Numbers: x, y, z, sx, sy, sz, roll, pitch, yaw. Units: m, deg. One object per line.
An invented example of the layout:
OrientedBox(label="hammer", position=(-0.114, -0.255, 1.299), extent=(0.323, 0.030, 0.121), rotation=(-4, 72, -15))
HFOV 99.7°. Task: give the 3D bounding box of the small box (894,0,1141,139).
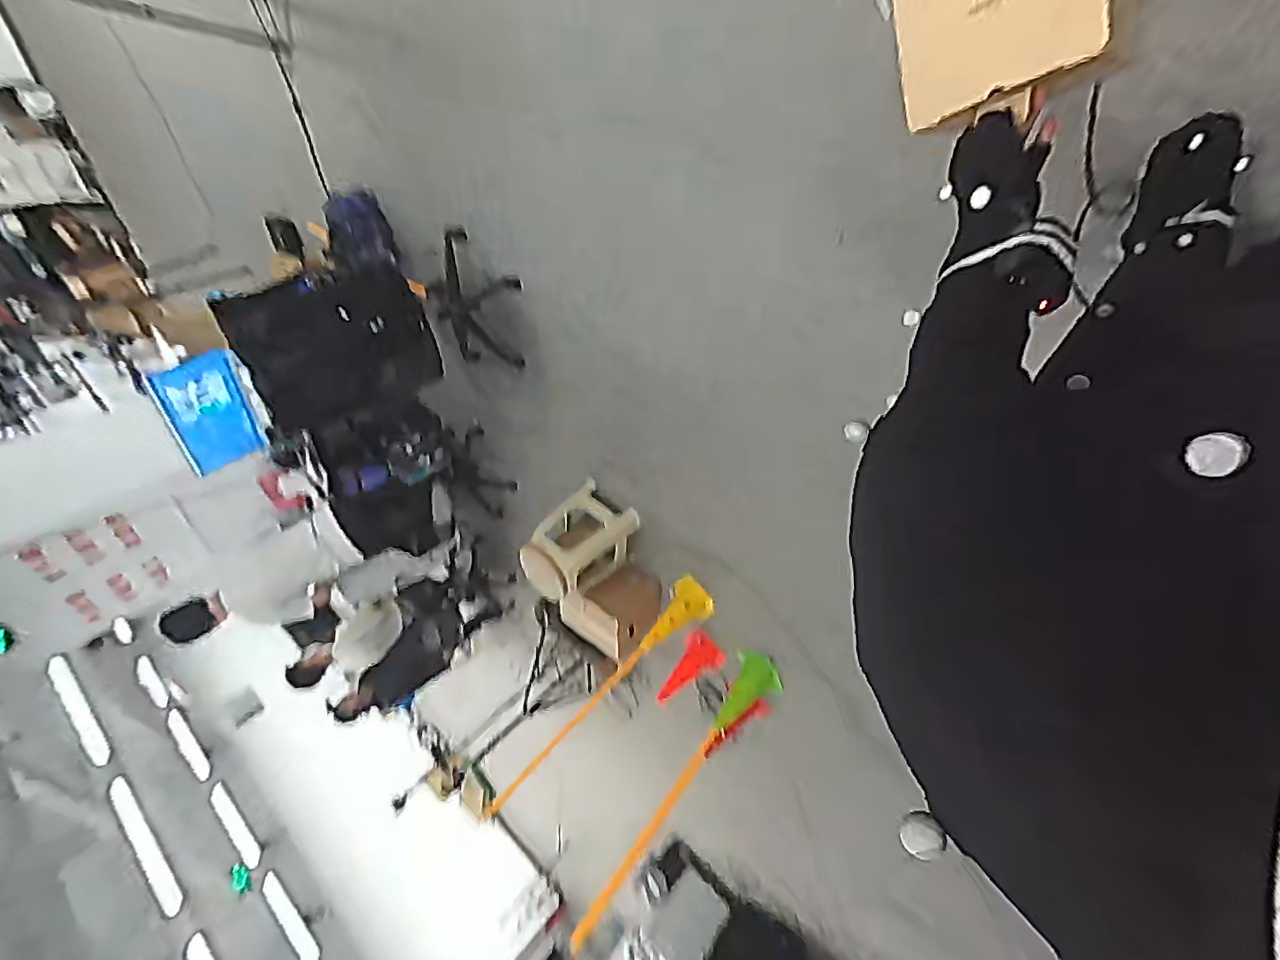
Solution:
OrientedBox(label="small box", position=(0.376, -0.470, 0.538), extent=(0.168, 0.176, 0.179), rotation=(5, 116, 49))
